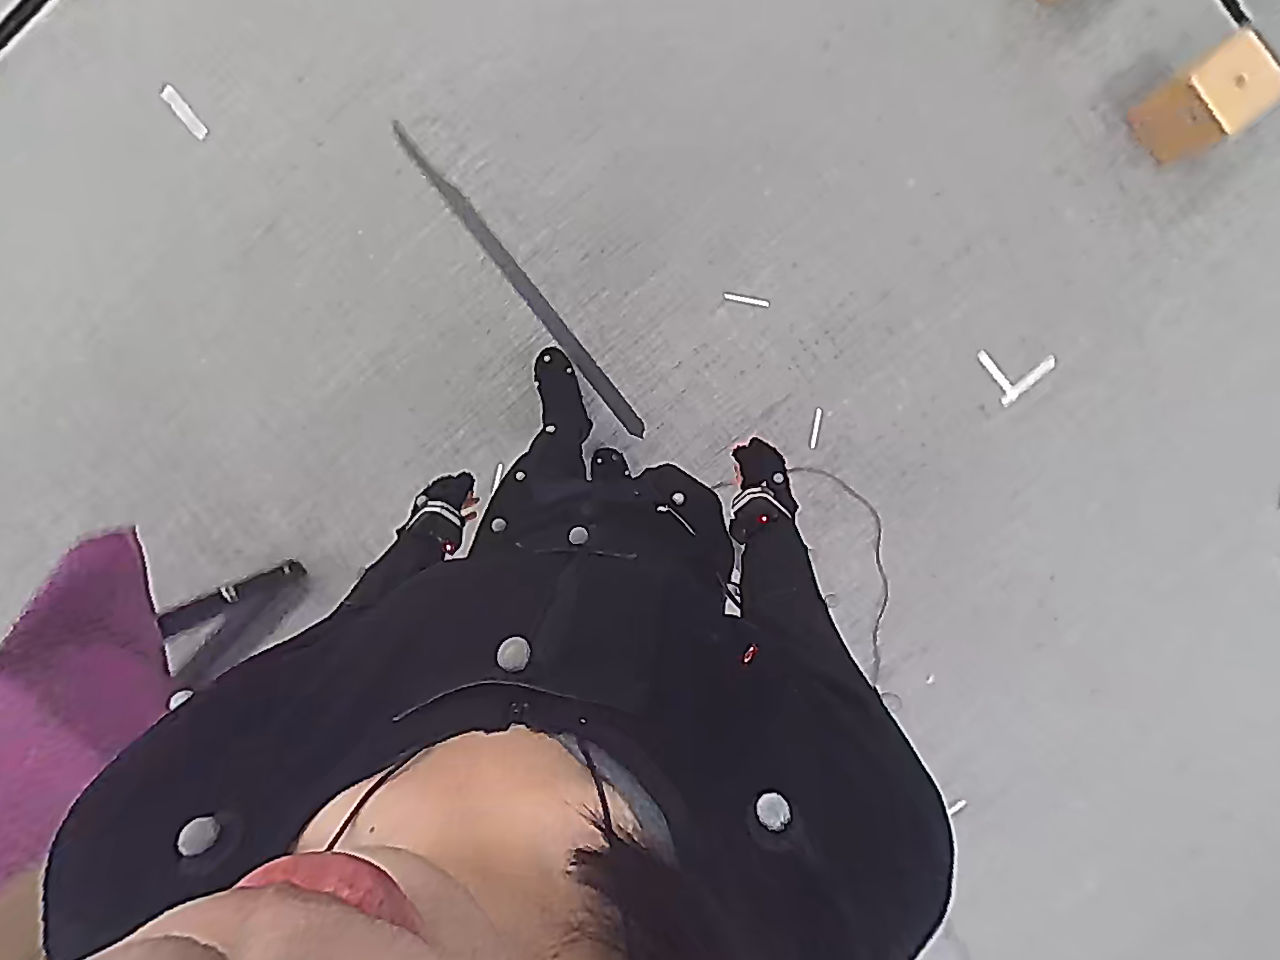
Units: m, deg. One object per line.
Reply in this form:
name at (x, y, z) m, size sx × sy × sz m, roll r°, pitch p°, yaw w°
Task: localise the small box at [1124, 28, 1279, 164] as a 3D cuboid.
small box at (1.357, -0.921, 1.319) m, size 0.168 × 0.176 × 0.179 m, roll -41°, pitch 95°, yaw 6°
